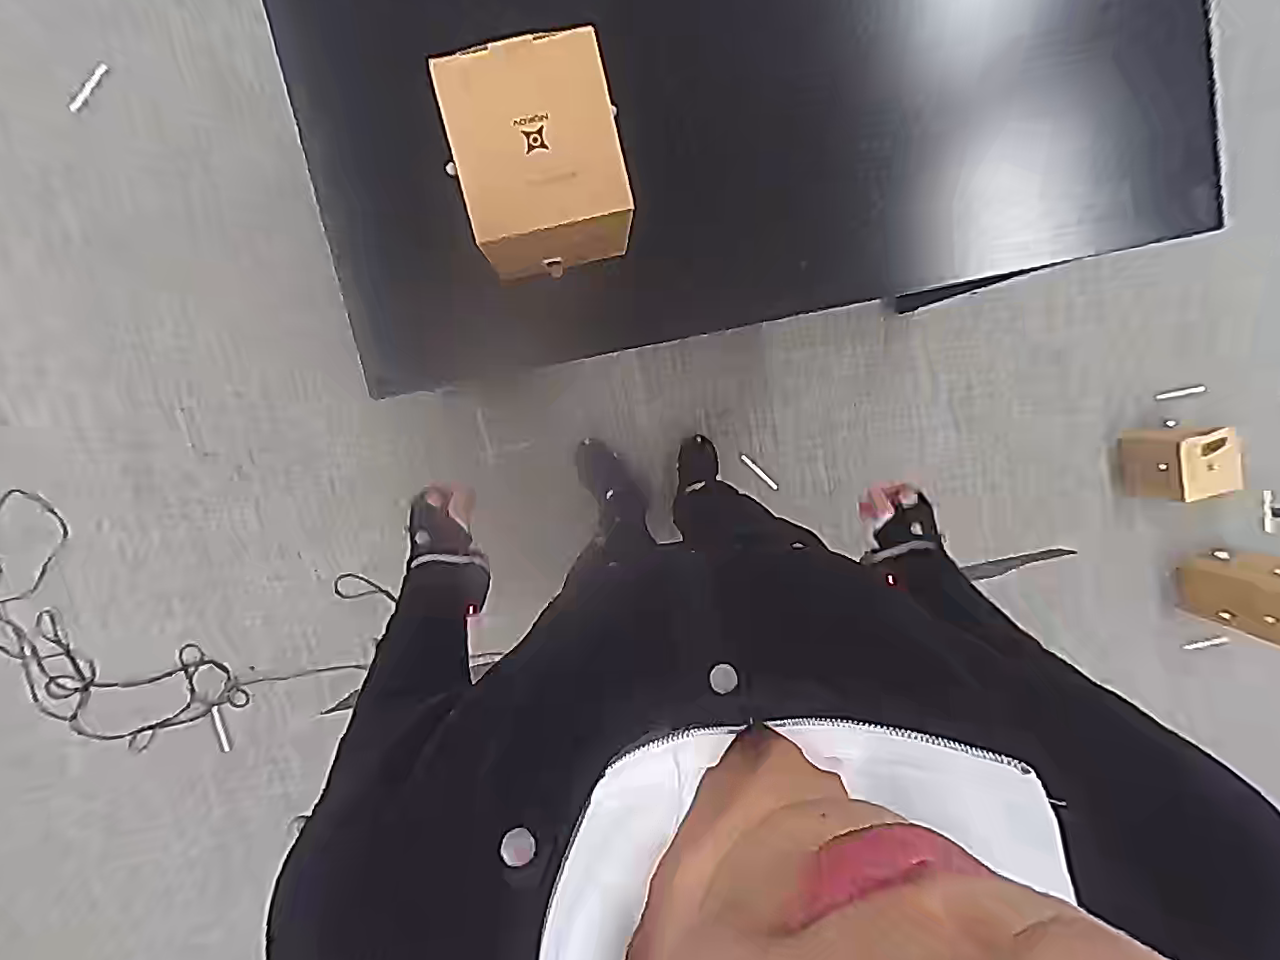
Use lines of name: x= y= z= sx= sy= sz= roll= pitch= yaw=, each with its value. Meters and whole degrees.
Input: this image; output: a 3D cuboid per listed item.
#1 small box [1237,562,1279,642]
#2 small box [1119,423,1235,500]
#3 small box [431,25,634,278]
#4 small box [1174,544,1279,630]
small box: x=1.743 y=0.330 z=1.427 sx=0.179 sy=0.176 sz=0.168 roll=-19 pitch=99 yaw=-1
small box: x=1.500 y=-0.057 z=1.520 sx=0.168 sy=0.176 sz=0.179 roll=-15 pitch=99 yaw=-3
small box: x=-0.111 y=-0.352 z=0.613 sx=0.168 sy=0.176 sz=0.179 roll=-15 pitch=99 yaw=-2
small box: x=1.738 y=0.309 z=1.589 sx=0.168 sy=0.176 sz=0.179 roll=-18 pitch=99 yaw=-2
